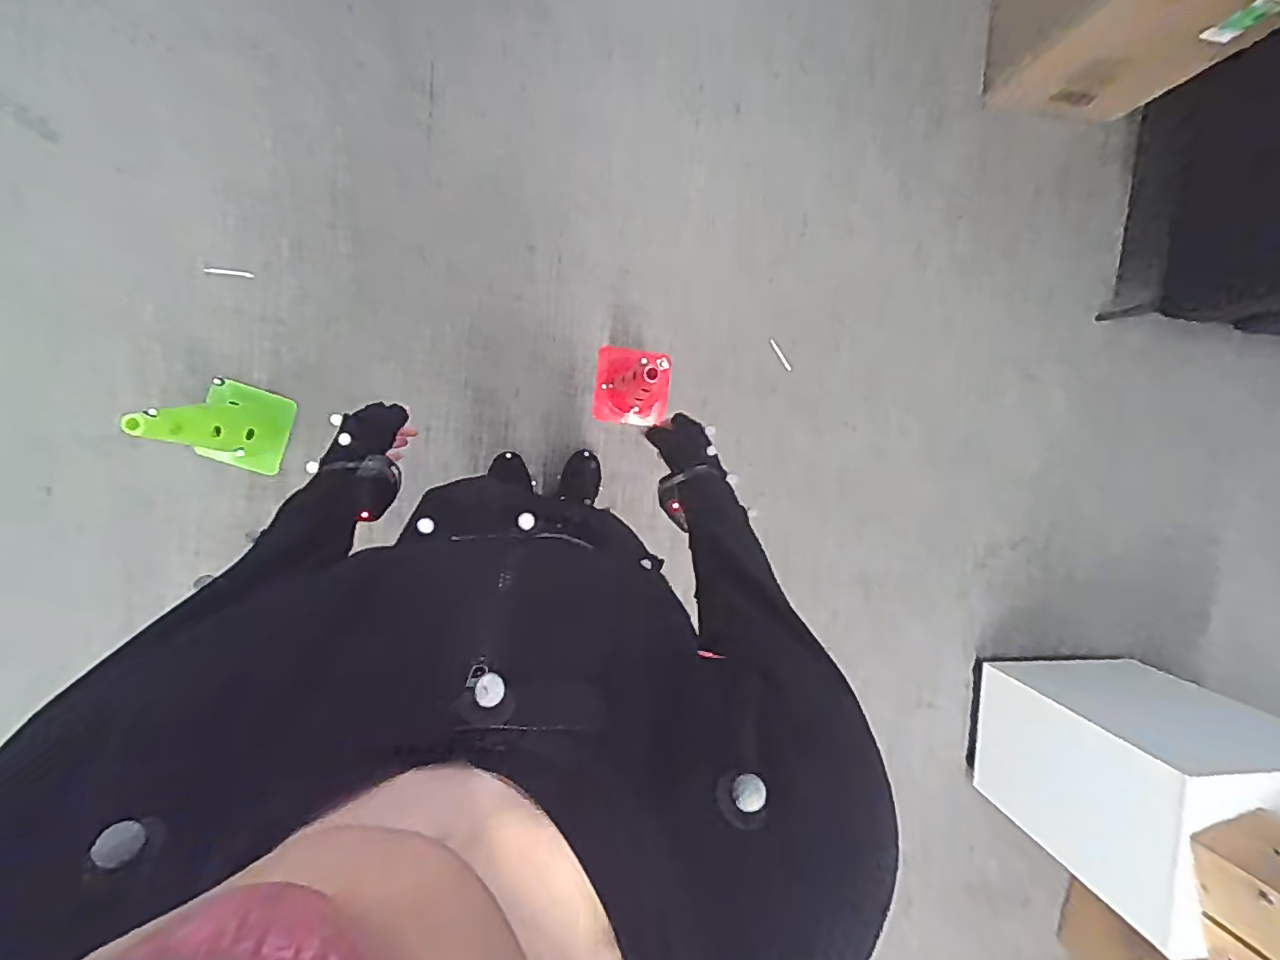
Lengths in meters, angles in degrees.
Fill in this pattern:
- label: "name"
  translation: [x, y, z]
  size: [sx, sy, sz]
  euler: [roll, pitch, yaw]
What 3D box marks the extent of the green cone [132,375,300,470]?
- label: "green cone"
  translation: [-0.949, -0.127, 1.177]
  size: [0.202, 0.368, 0.200]
  euler: [17, 92, -8]
